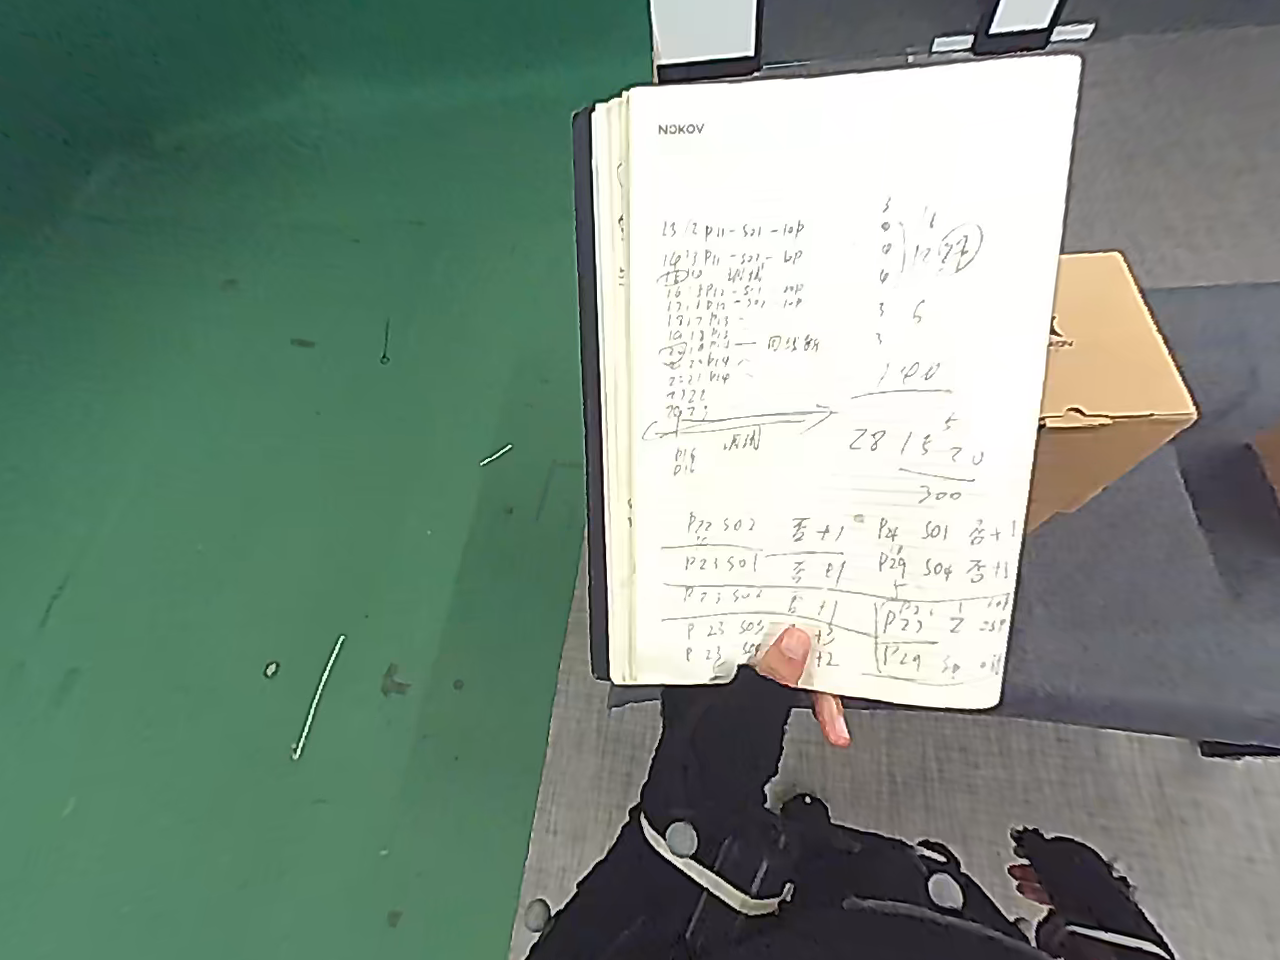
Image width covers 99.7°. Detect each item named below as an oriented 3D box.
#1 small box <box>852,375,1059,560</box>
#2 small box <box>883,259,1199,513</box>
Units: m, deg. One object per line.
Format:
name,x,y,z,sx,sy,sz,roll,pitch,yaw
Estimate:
small box,0.370,-0.013,0.666,0.168,0.176,0.179,-2,62,8
small box,0.349,-0.082,0.520,0.168,0.176,0.179,-1,62,8
